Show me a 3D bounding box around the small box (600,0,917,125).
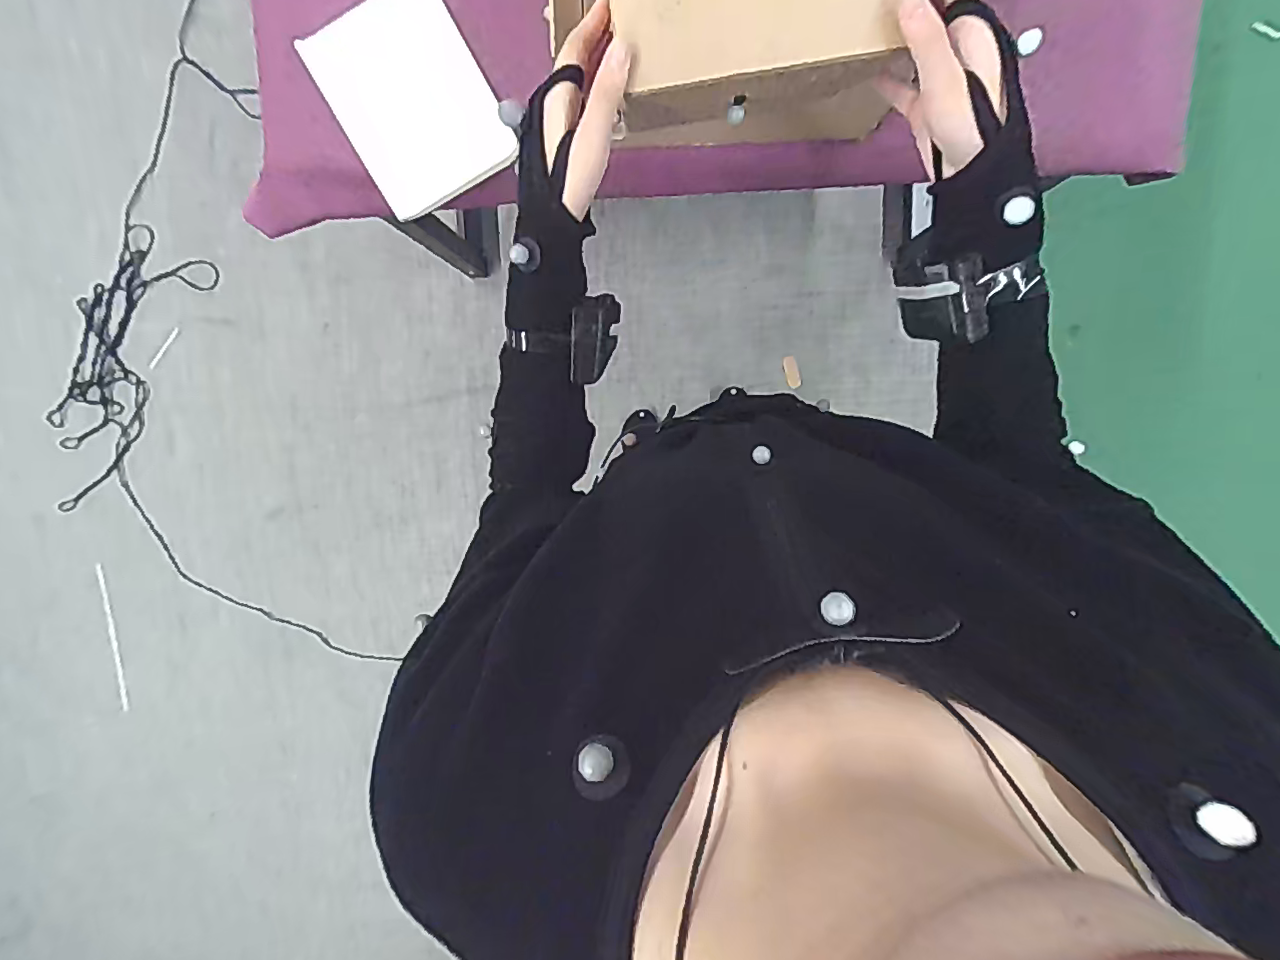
[{"bbox_3d":[0.058,-0.345,0.346,0.179,0.176,0.168,-7,115,3],"label":"small box"}]
